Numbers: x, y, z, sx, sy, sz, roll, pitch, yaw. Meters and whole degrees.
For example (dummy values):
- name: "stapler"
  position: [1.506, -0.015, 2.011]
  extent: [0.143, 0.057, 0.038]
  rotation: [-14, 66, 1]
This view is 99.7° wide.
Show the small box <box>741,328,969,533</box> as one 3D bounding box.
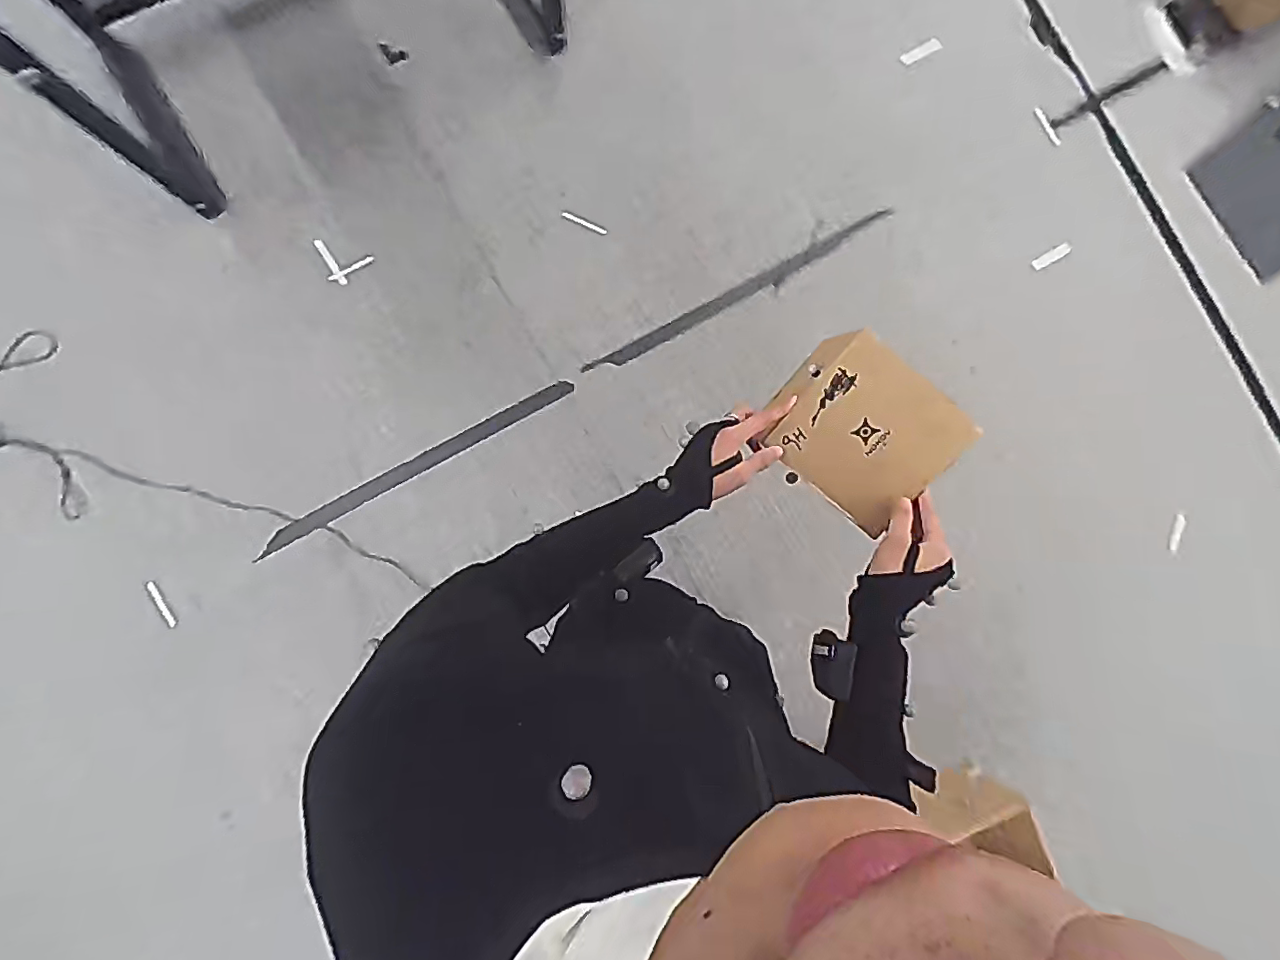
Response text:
- name: "small box"
  position: [0.248, -0.068, 0.672]
  extent: [0.179, 0.176, 0.168]
  rotation: [38, 102, -4]
